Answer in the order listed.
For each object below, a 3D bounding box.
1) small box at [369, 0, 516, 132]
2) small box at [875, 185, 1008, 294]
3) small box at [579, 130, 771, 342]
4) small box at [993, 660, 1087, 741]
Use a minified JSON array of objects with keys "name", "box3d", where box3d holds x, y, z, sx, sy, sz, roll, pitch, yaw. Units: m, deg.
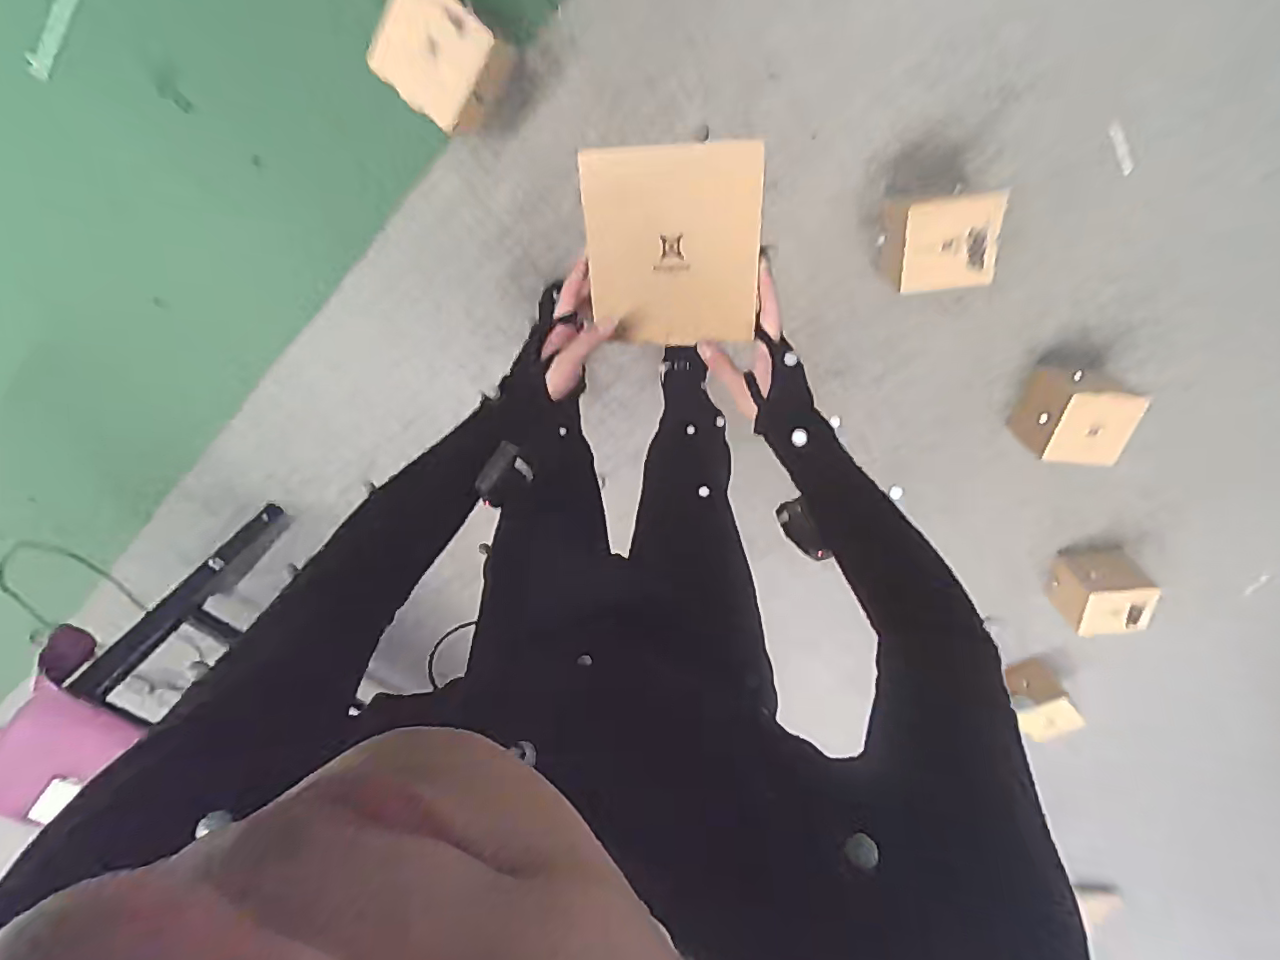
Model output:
[{"name":"small box","box3d":[-0.353,-0.778,0.995,0.168,0.176,0.179,35,118,-17]},{"name":"small box","box3d":[0.598,-0.492,1.098,0.179,0.176,0.168,-5,121,8]},{"name":"small box","box3d":[0.044,-0.255,0.563,0.168,0.176,0.179,2,124,11]},{"name":"small box","box3d":[1.332,0.732,1.812,0.168,0.176,0.179,-38,112,25]}]
